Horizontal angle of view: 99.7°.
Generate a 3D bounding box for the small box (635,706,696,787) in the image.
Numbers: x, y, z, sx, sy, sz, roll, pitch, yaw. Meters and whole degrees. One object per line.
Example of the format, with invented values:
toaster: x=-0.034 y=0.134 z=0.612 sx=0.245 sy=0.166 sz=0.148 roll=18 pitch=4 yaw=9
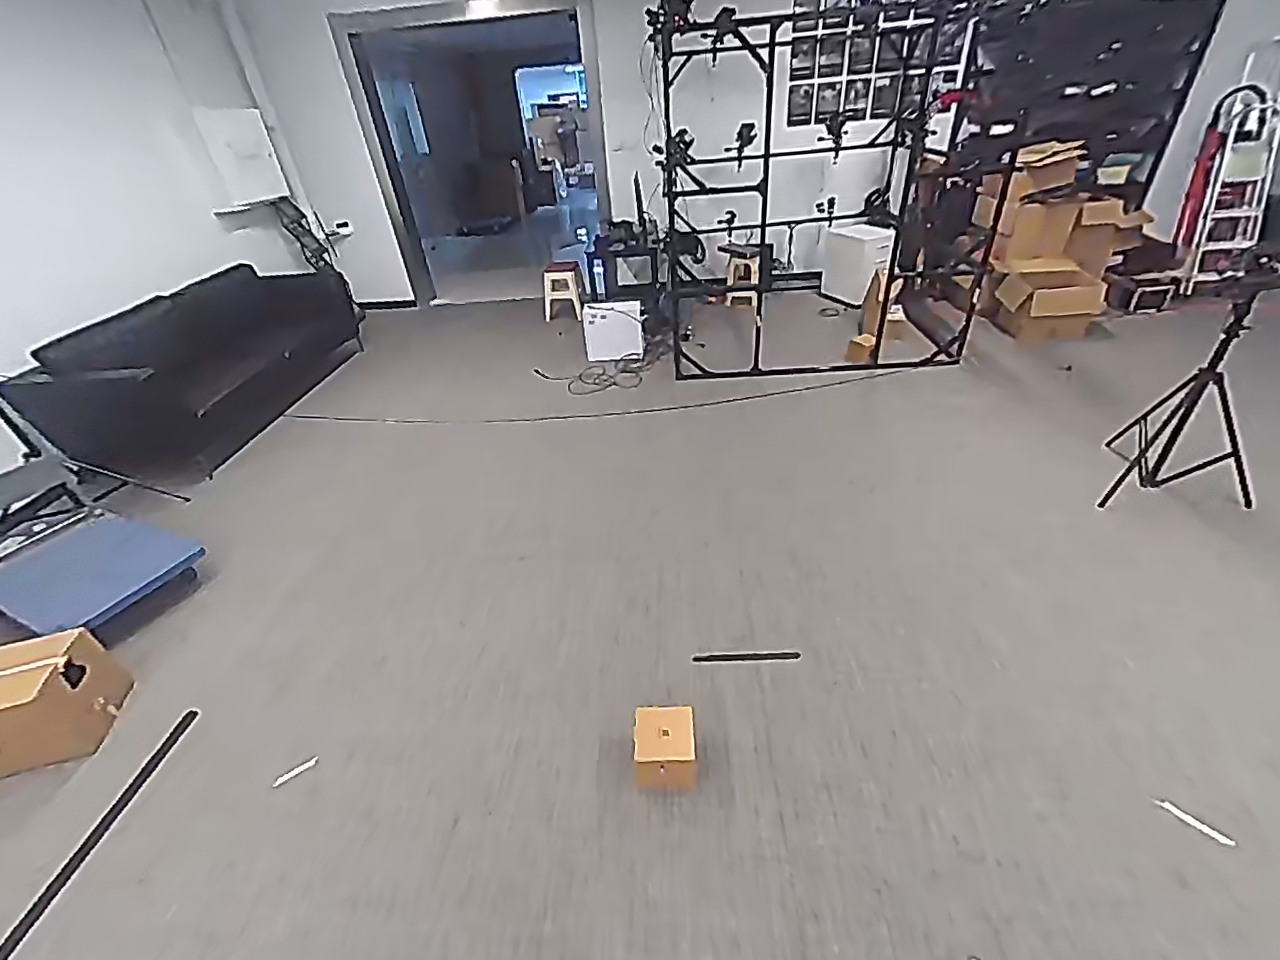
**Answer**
small box: x=0.080 y=0.810 z=1.644 sx=0.179 sy=0.176 sz=0.168 roll=-4 pitch=35 yaw=4
